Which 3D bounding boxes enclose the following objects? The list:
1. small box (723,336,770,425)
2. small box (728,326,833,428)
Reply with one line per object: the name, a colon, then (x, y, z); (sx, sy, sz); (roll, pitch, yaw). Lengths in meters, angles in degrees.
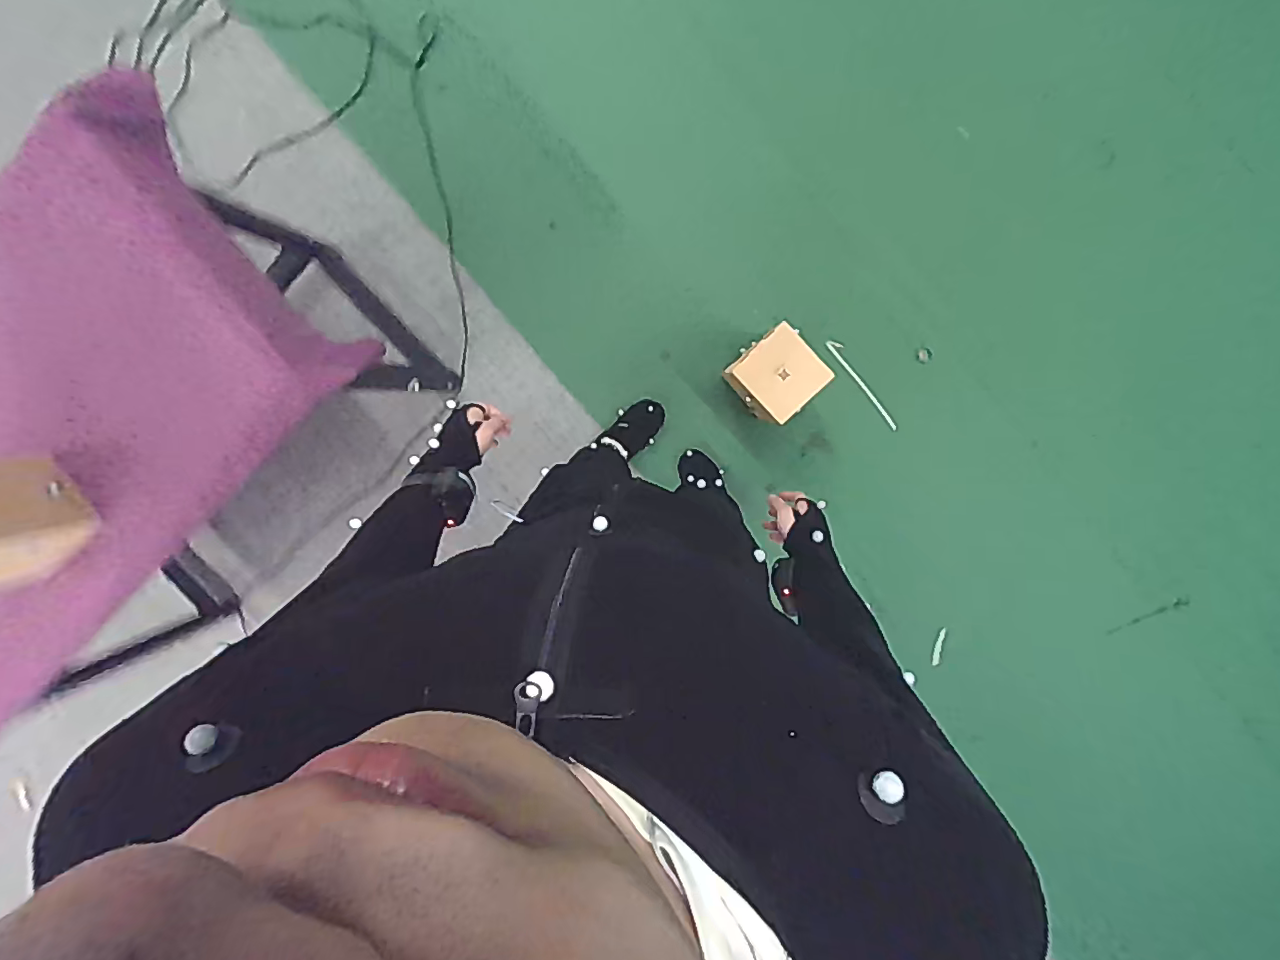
small box: (0.345, -0.271, 1.474); (0.168, 0.176, 0.179); (-40, 92, 9)
small box: (0.333, -0.247, 1.314); (0.168, 0.176, 0.179); (-43, 91, 10)
